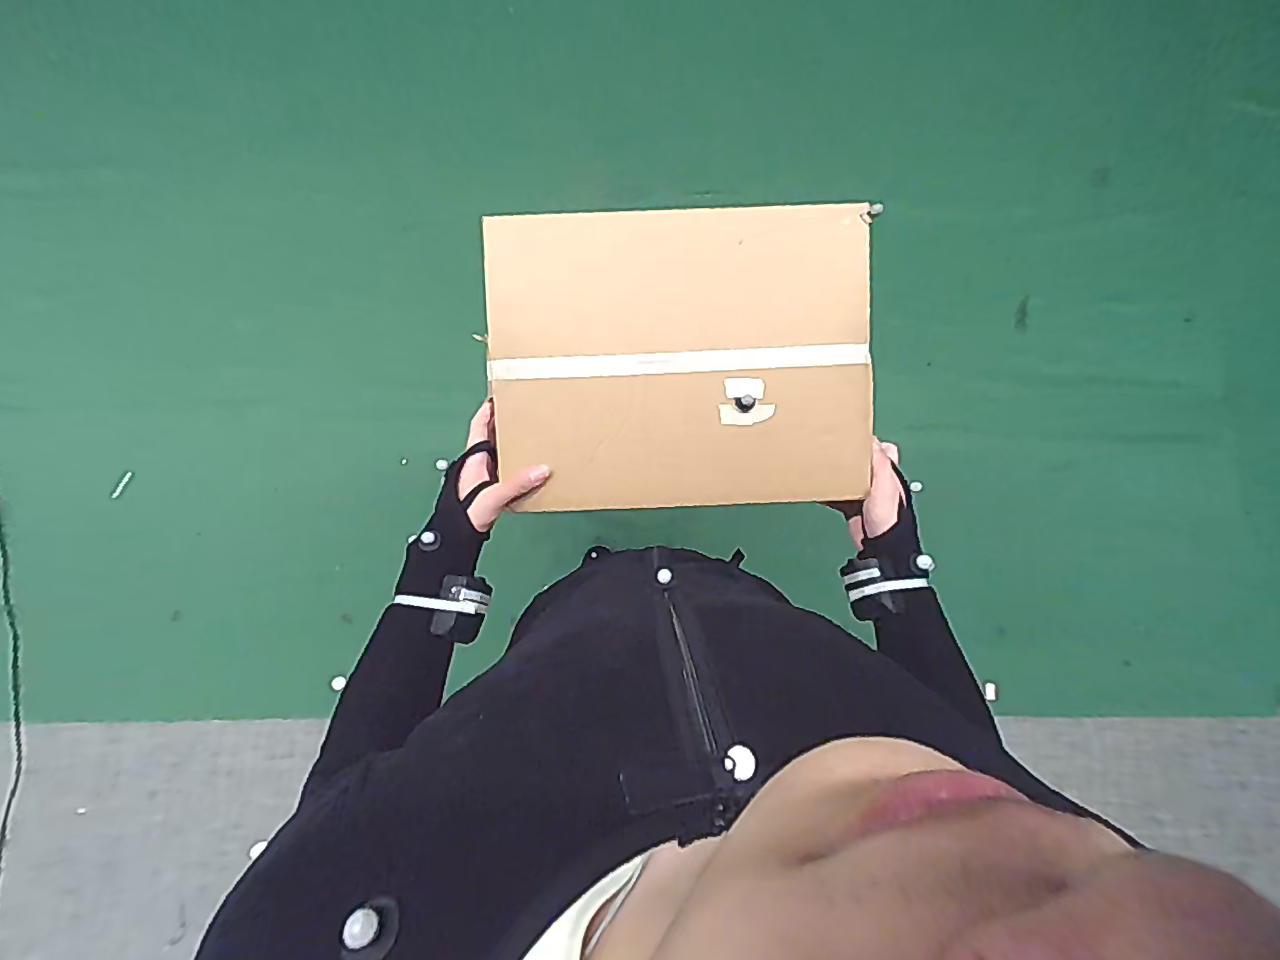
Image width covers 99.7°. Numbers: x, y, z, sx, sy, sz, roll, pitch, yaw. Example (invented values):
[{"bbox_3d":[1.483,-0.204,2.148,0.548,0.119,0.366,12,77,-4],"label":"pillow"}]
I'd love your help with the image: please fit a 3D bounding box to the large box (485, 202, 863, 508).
[{"bbox_3d":[0.037,-0.144,0.732,0.408,0.320,0.320,-3,96,-1],"label":"large box"}]
